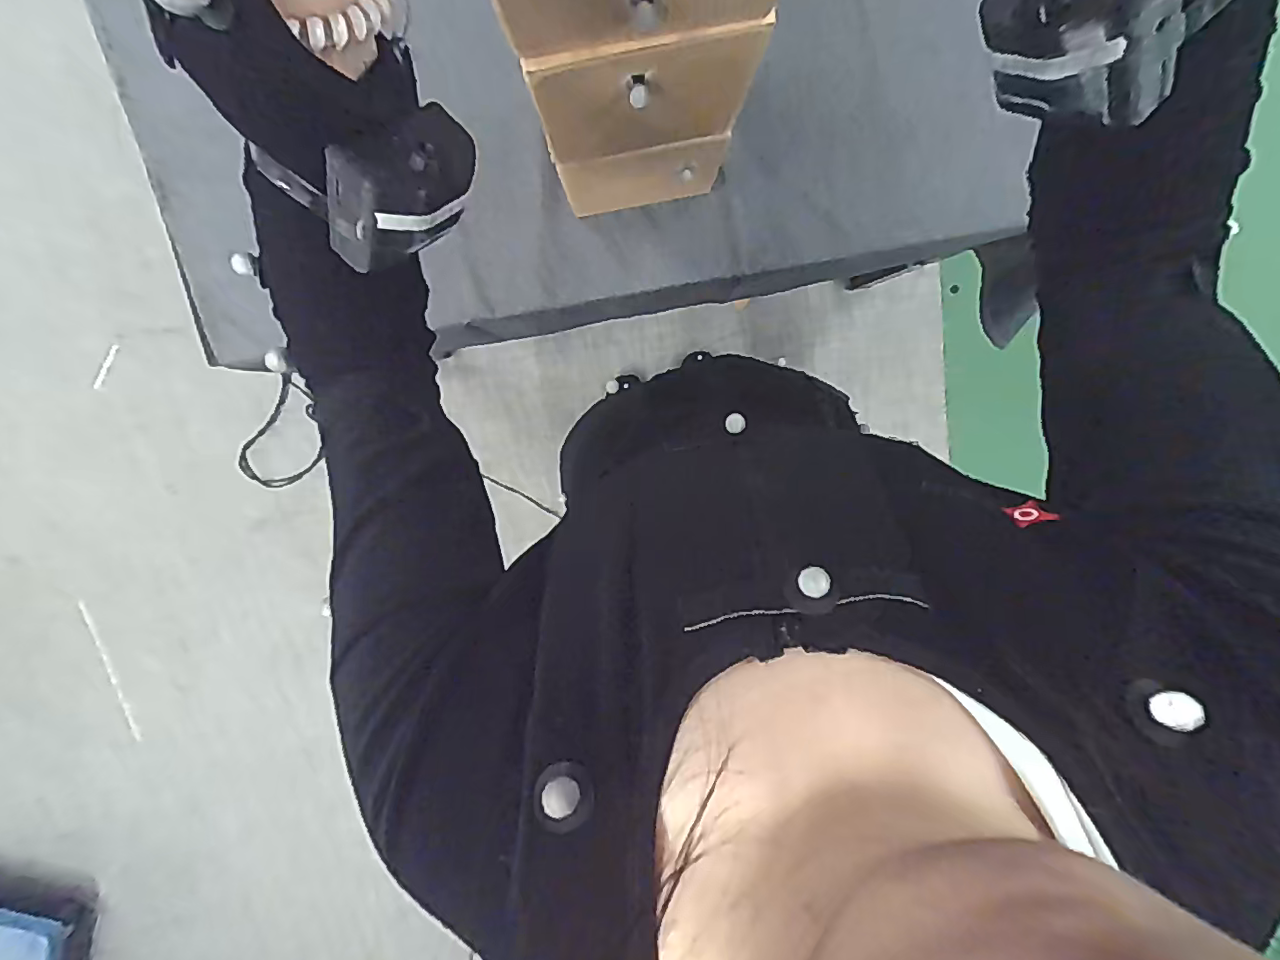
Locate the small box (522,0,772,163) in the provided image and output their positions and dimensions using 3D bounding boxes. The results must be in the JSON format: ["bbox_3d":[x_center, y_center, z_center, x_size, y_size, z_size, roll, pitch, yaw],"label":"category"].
[{"bbox_3d":[-0.008,-0.385,0.436,0.179,0.176,0.168,-10,101,2],"label":"small box"}]

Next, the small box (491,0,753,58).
[{"bbox_3d":[-0.011,-0.359,0.273,0.179,0.176,0.168,-8,100,1],"label":"small box"}]
